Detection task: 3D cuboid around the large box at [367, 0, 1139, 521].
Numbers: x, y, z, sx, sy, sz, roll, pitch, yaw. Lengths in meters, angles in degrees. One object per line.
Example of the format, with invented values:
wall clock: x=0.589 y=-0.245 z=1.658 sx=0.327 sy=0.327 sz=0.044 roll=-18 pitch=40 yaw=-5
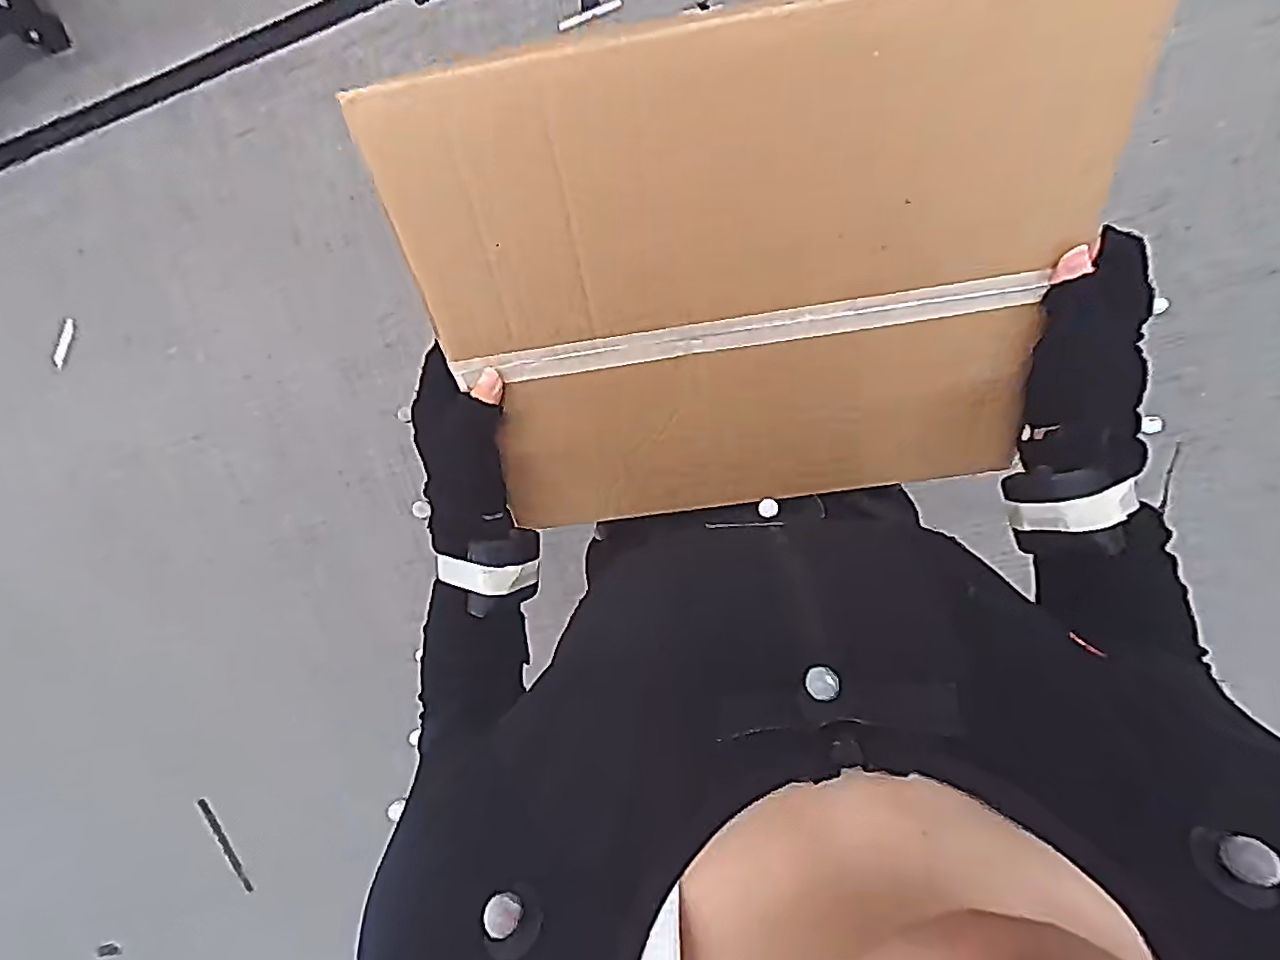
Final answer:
large box: x=0.066 y=-0.202 z=0.480 sx=0.408 sy=0.320 sz=0.320 roll=-8 pitch=130 yaw=4
